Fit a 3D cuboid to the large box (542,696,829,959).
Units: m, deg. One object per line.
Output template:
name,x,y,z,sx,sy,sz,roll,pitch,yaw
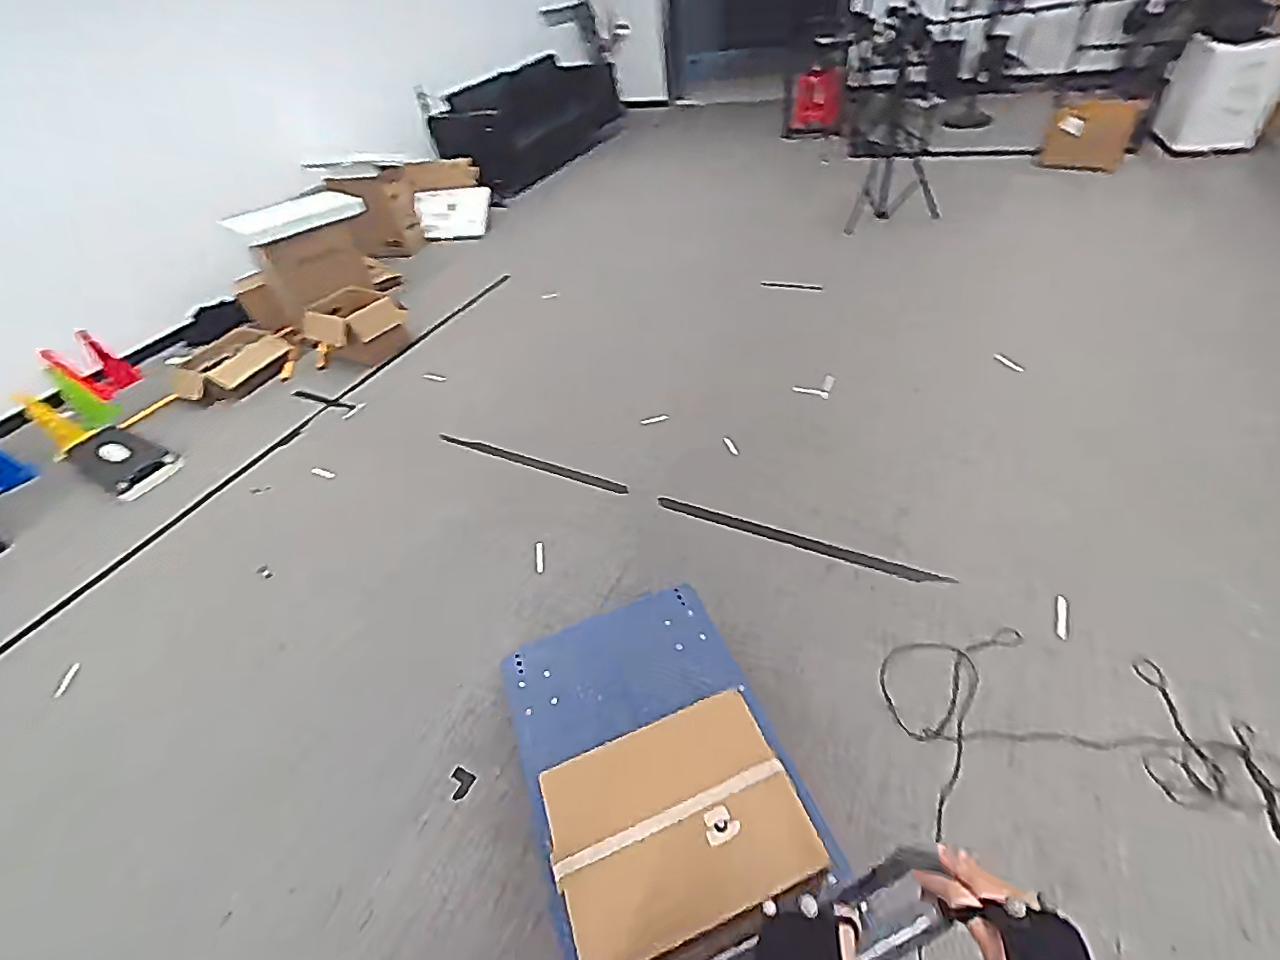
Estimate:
large box,0.075,0.682,1.001,0.408,0.320,0.320,-19,45,-10
